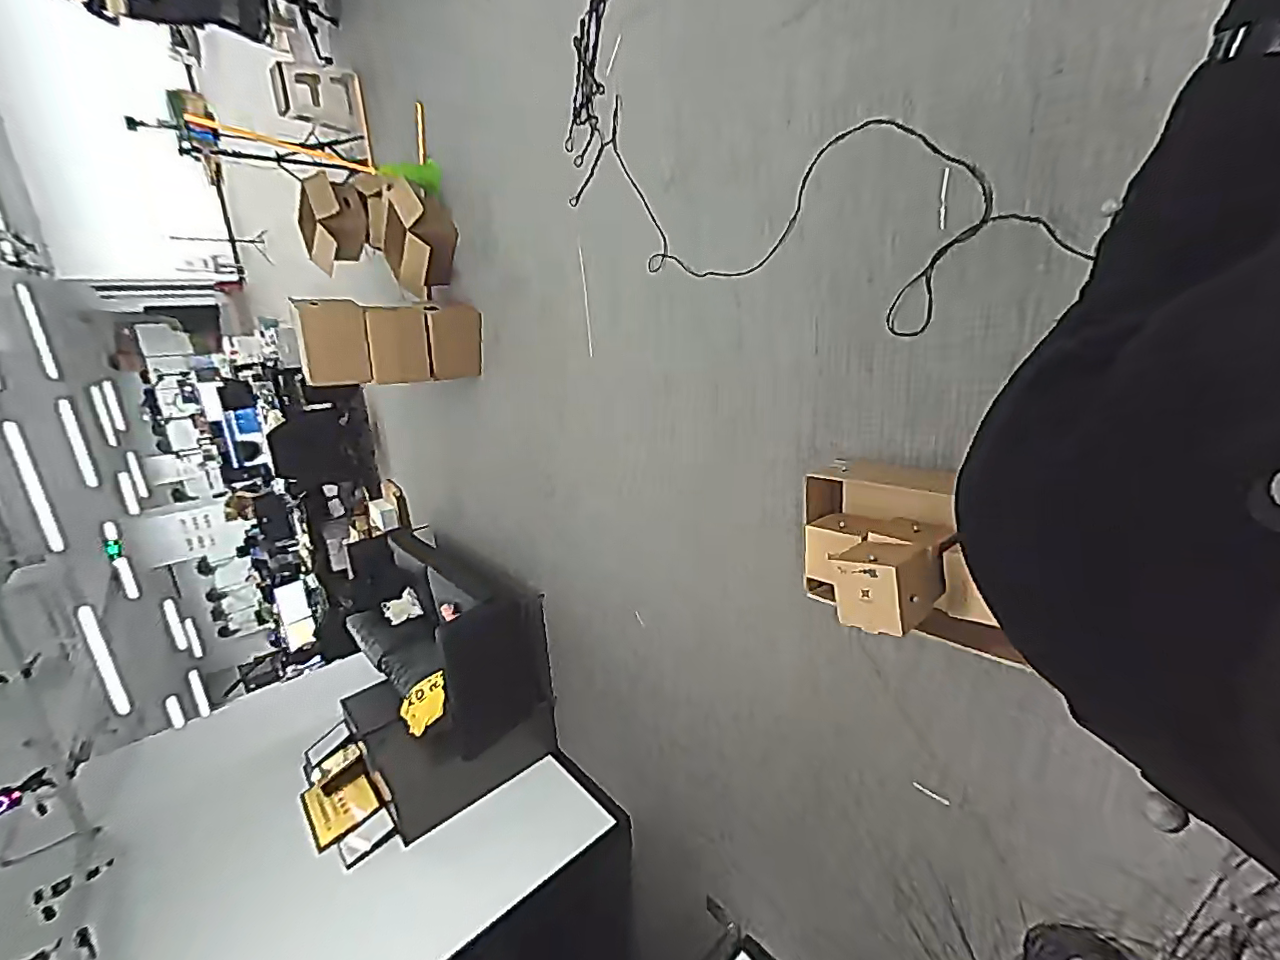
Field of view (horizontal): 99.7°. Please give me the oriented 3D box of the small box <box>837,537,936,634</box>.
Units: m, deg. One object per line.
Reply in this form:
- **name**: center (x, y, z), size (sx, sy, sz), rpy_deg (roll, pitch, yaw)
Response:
- **small box**: center (0.622, 0.257, 1.356), size (0.168, 0.176, 0.179), rpy_deg (-1, 103, 51)
